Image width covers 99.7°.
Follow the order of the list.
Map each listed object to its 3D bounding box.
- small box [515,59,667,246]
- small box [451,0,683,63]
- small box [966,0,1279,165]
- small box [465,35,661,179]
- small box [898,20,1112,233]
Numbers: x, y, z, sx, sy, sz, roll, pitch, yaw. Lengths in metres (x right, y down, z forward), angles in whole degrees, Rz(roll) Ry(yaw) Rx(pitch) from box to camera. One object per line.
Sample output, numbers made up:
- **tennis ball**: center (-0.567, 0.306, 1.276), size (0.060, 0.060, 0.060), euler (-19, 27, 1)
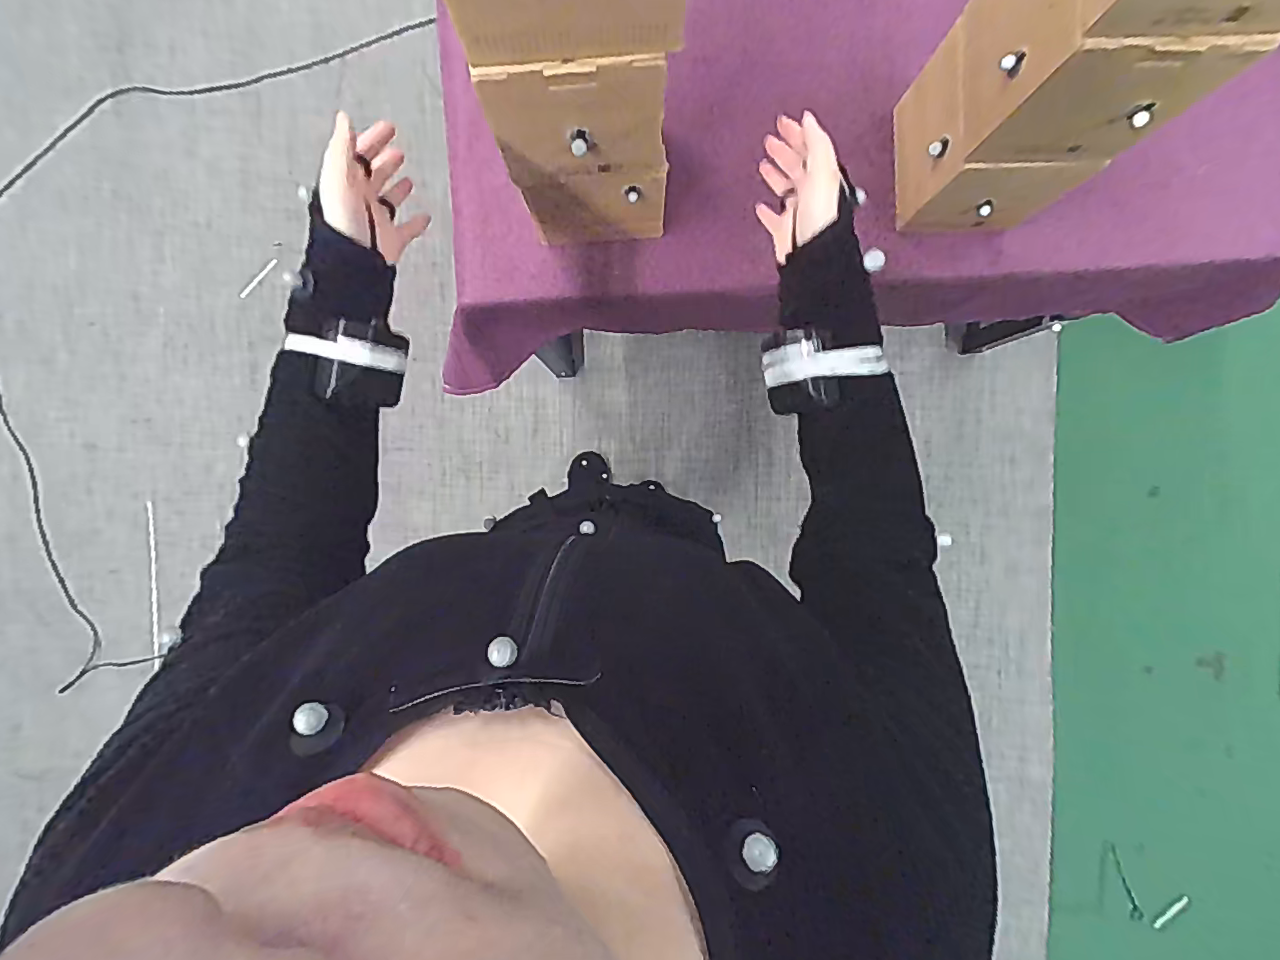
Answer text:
- **small box**: center (-0.058, -0.417, 0.692), size (0.179, 0.176, 0.168), euler (-4, 90, 0)
- **small box**: center (-0.056, -0.422, 0.363), size (0.179, 0.176, 0.168), euler (-4, 90, -1)
- **small box**: center (0.442, -0.432, 0.519), size (0.168, 0.176, 0.179), euler (1, 90, 1)
- **small box**: center (-0.067, -0.418, 0.528), size (0.168, 0.176, 0.179), euler (-4, 91, 0)
- **small box**: center (0.445, -0.429, 0.682), size (0.168, 0.176, 0.179), euler (-1, 90, 1)
